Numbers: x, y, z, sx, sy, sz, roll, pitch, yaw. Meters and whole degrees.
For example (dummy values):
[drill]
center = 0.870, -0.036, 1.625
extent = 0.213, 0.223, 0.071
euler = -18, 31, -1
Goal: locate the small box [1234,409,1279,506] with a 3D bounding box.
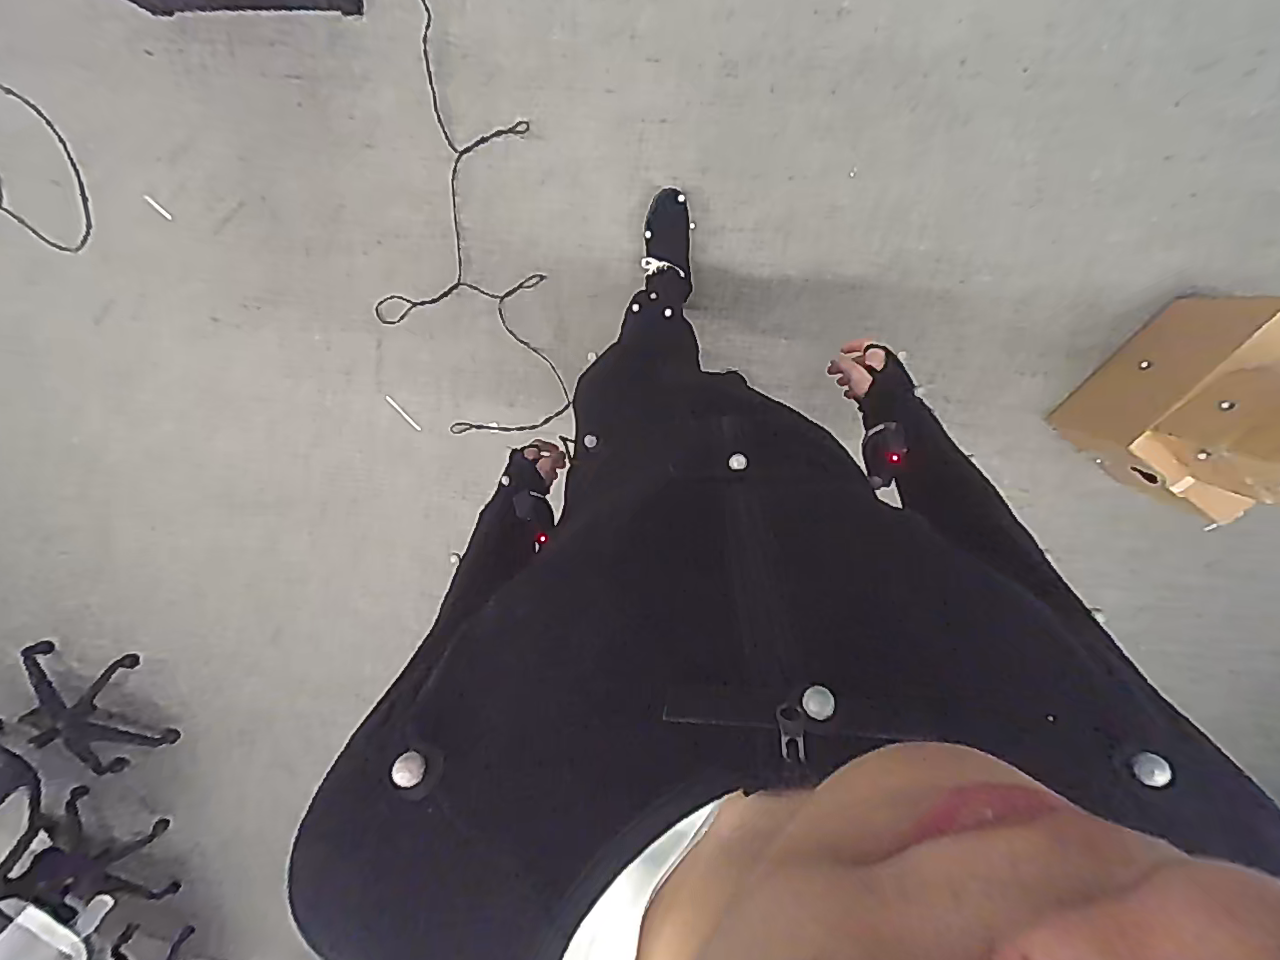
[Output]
[small box]
center = 1.203, -0.037, 0.928
extent = 0.168, 0.176, 0.179
euler = 40, 106, -6

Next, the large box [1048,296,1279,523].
[large box]
center = 1.332, -0.178, 1.299
extent = 0.320, 0.320, 0.408
euler = 35, 107, -7
